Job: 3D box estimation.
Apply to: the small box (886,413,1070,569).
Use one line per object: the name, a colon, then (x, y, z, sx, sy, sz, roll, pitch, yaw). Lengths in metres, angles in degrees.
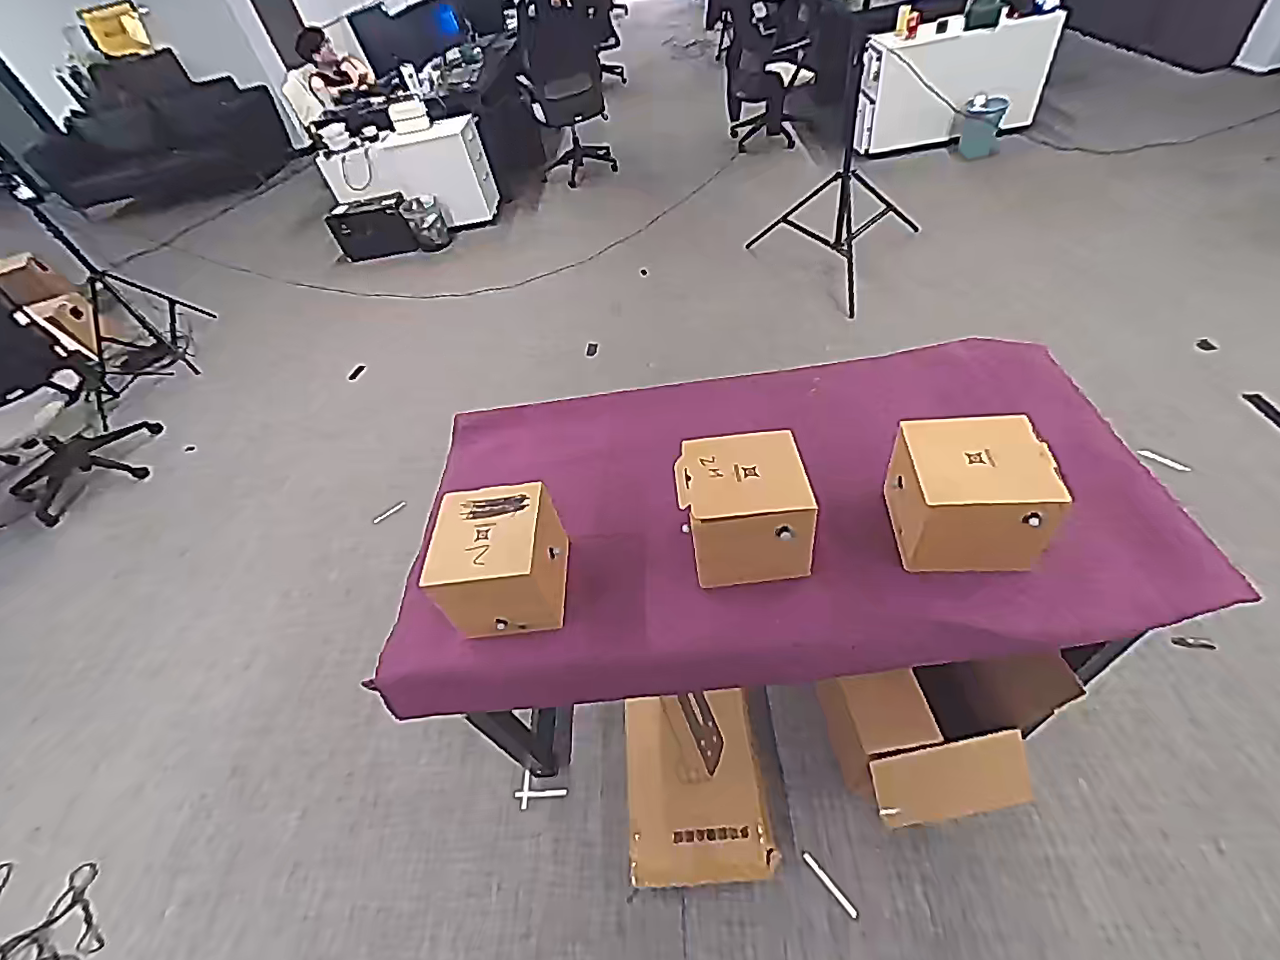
small box: (0.480, 0.021, 0.807, 0.179, 0.176, 0.168, -2, 48, 10)

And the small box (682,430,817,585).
small box: (0.165, 0.046, 0.851, 0.179, 0.176, 0.168, -8, 45, 5)
